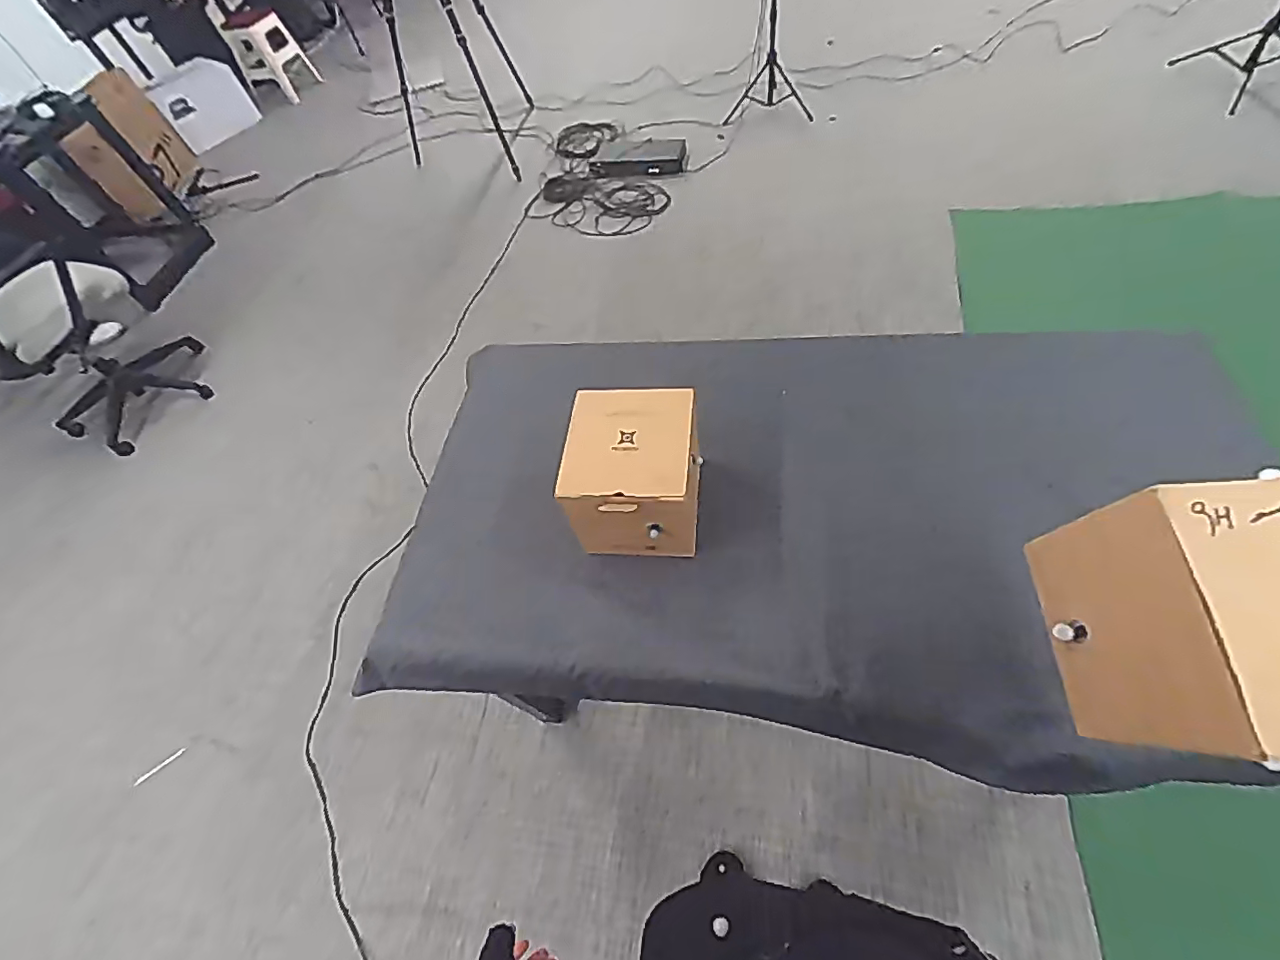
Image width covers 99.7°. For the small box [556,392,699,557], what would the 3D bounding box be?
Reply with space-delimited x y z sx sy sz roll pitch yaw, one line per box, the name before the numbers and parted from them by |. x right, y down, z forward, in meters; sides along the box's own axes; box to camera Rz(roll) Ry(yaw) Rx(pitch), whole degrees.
small box | -0.005 -0.002 0.764 0.168 0.176 0.179 1 56 9
